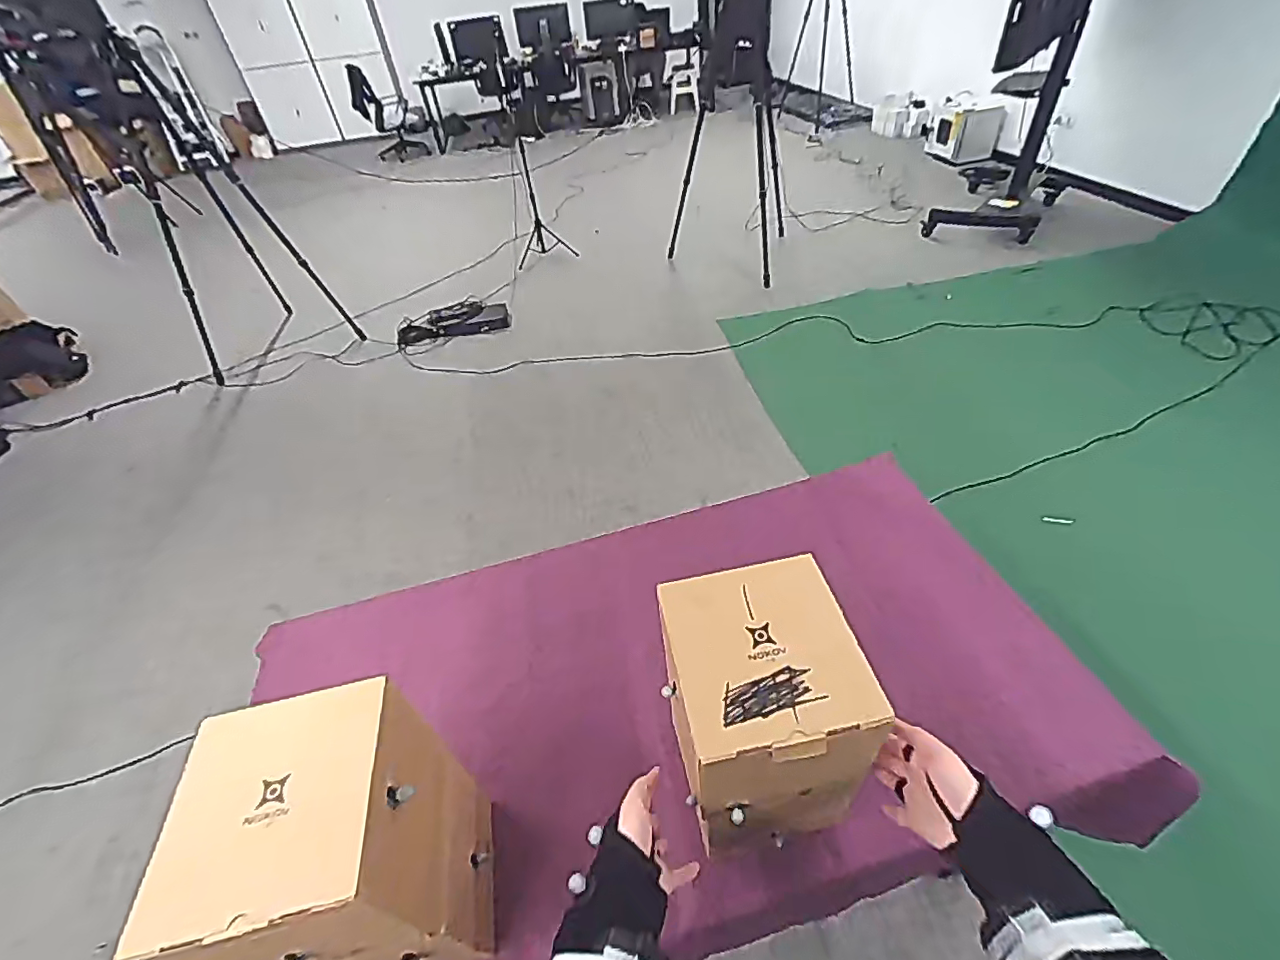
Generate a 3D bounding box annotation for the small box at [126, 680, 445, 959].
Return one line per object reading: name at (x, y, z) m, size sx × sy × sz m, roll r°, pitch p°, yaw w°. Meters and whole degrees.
small box at (-0.291, 0.320, 0.499) m, size 0.168 × 0.176 × 0.179 m, roll -13°, pitch 44°, yaw -5°

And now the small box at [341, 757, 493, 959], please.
small box at (-0.268, 0.442, 0.604) m, size 0.179 × 0.176 × 0.168 m, roll -13°, pitch 43°, yaw -5°

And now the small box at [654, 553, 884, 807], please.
small box at (0.116, 0.206, 0.547) m, size 0.168 × 0.176 × 0.179 m, roll -11°, pitch 42°, yaw -3°
